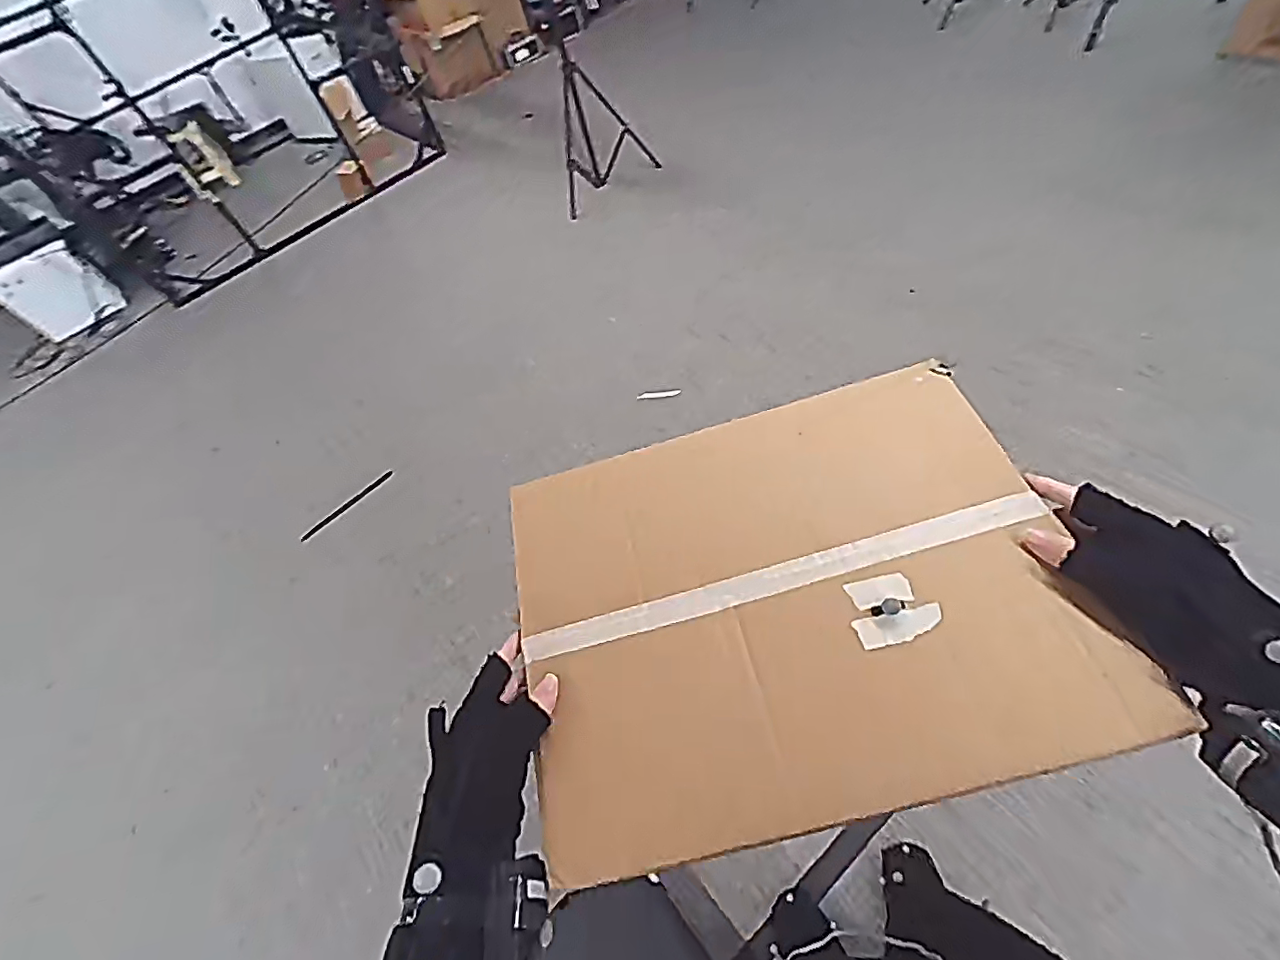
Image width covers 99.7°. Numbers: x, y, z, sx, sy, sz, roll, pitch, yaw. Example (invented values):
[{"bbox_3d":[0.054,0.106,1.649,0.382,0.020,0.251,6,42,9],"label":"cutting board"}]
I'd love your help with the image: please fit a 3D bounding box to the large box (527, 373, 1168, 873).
[{"bbox_3d":[0.139,0.157,0.550,0.408,0.320,0.320,-17,57,3],"label":"large box"}]
